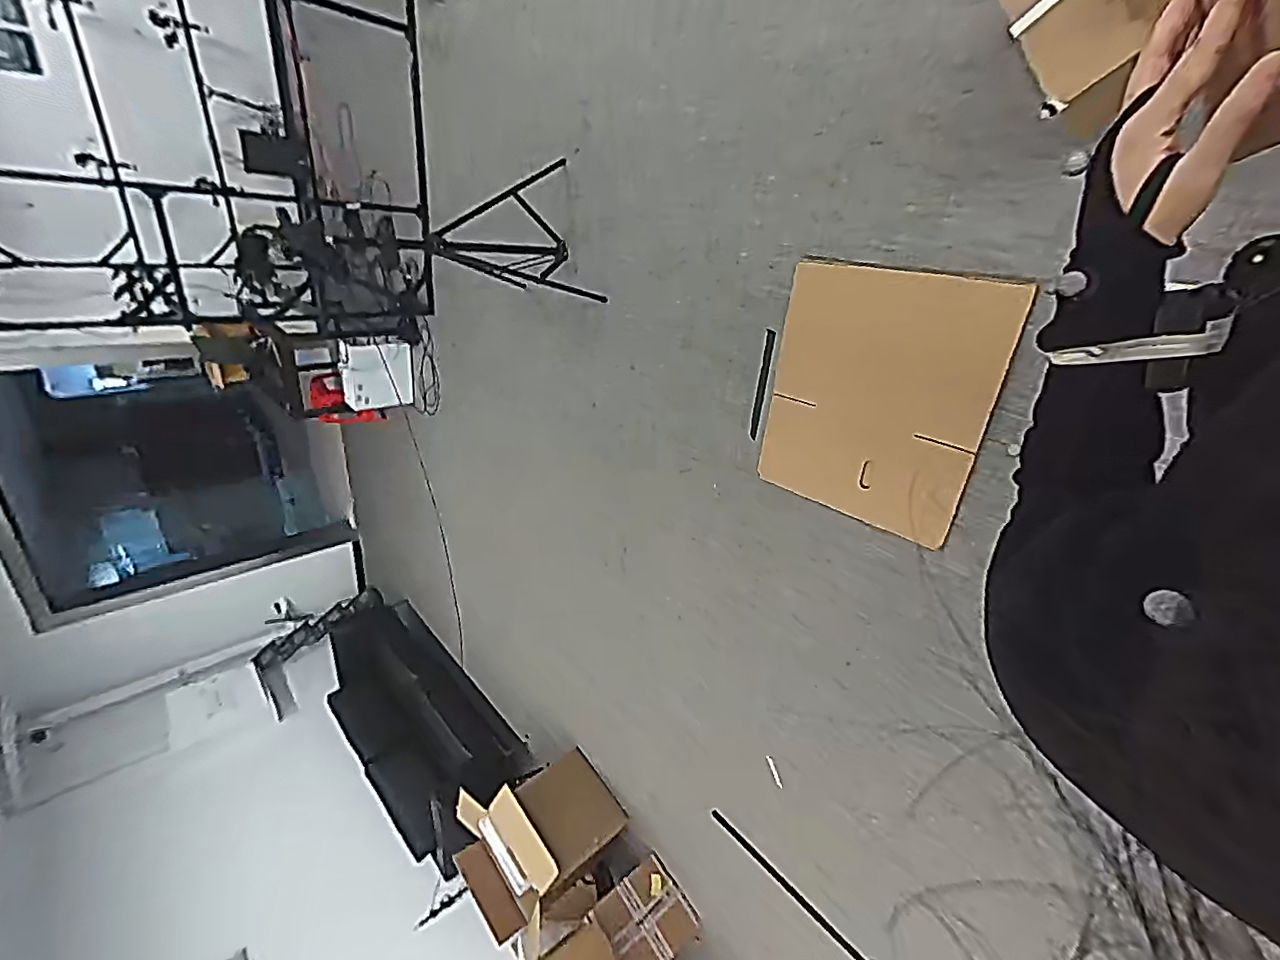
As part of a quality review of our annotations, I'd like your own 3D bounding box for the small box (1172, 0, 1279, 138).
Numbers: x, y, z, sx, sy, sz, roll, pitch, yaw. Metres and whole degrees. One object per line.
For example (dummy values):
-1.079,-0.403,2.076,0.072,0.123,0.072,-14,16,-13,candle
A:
0.383,-0.292,0.250,0.168,0.176,0.179,-17,97,36,small box
